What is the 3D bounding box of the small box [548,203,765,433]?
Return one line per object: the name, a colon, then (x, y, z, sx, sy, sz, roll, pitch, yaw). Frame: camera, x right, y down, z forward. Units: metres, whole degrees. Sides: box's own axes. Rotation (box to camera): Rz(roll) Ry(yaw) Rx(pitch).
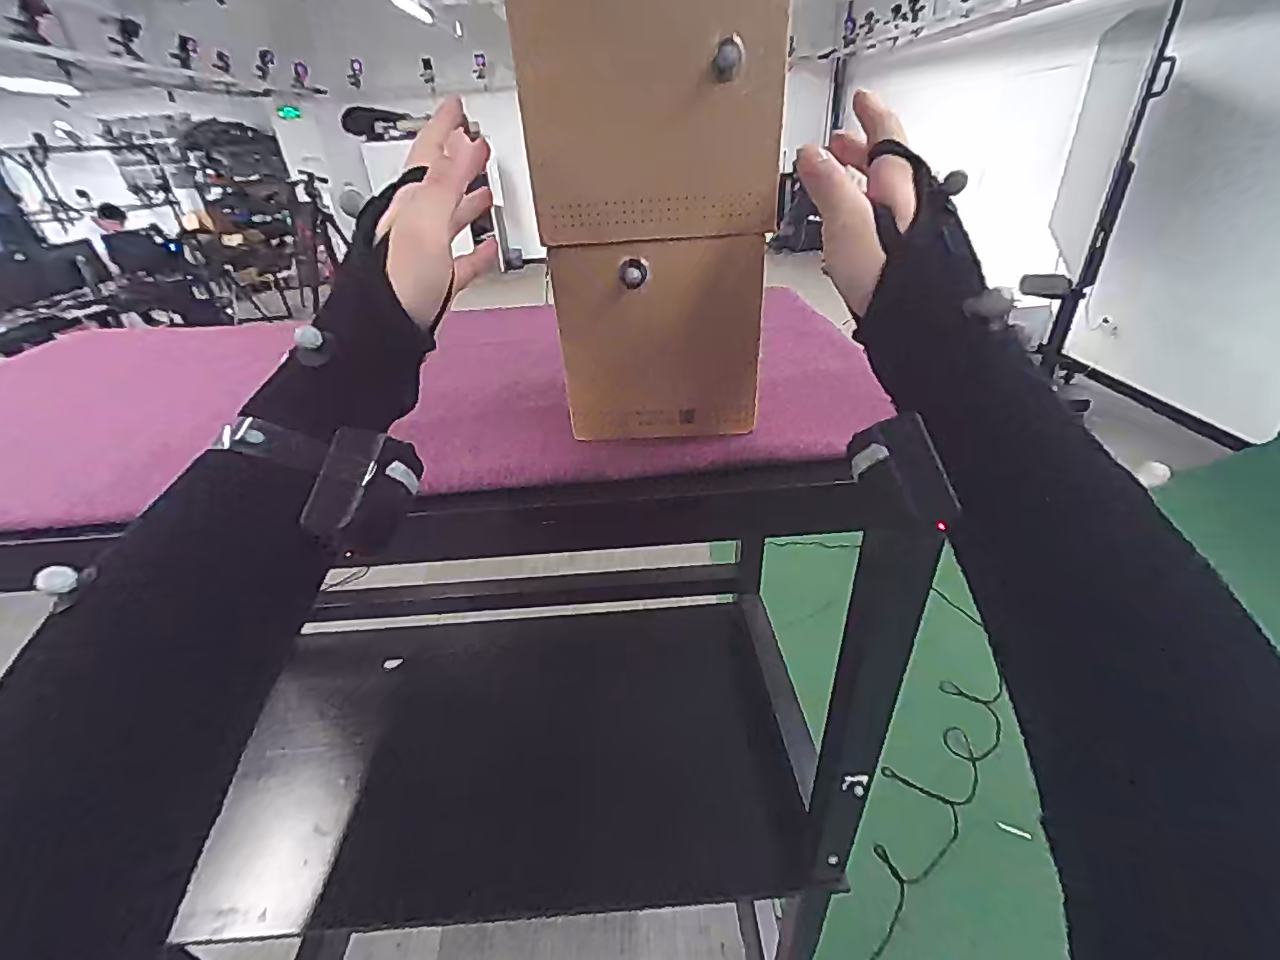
small box: (0.019, -0.157, 0.514, 0.168, 0.176, 0.179, -3, 32, 4)
